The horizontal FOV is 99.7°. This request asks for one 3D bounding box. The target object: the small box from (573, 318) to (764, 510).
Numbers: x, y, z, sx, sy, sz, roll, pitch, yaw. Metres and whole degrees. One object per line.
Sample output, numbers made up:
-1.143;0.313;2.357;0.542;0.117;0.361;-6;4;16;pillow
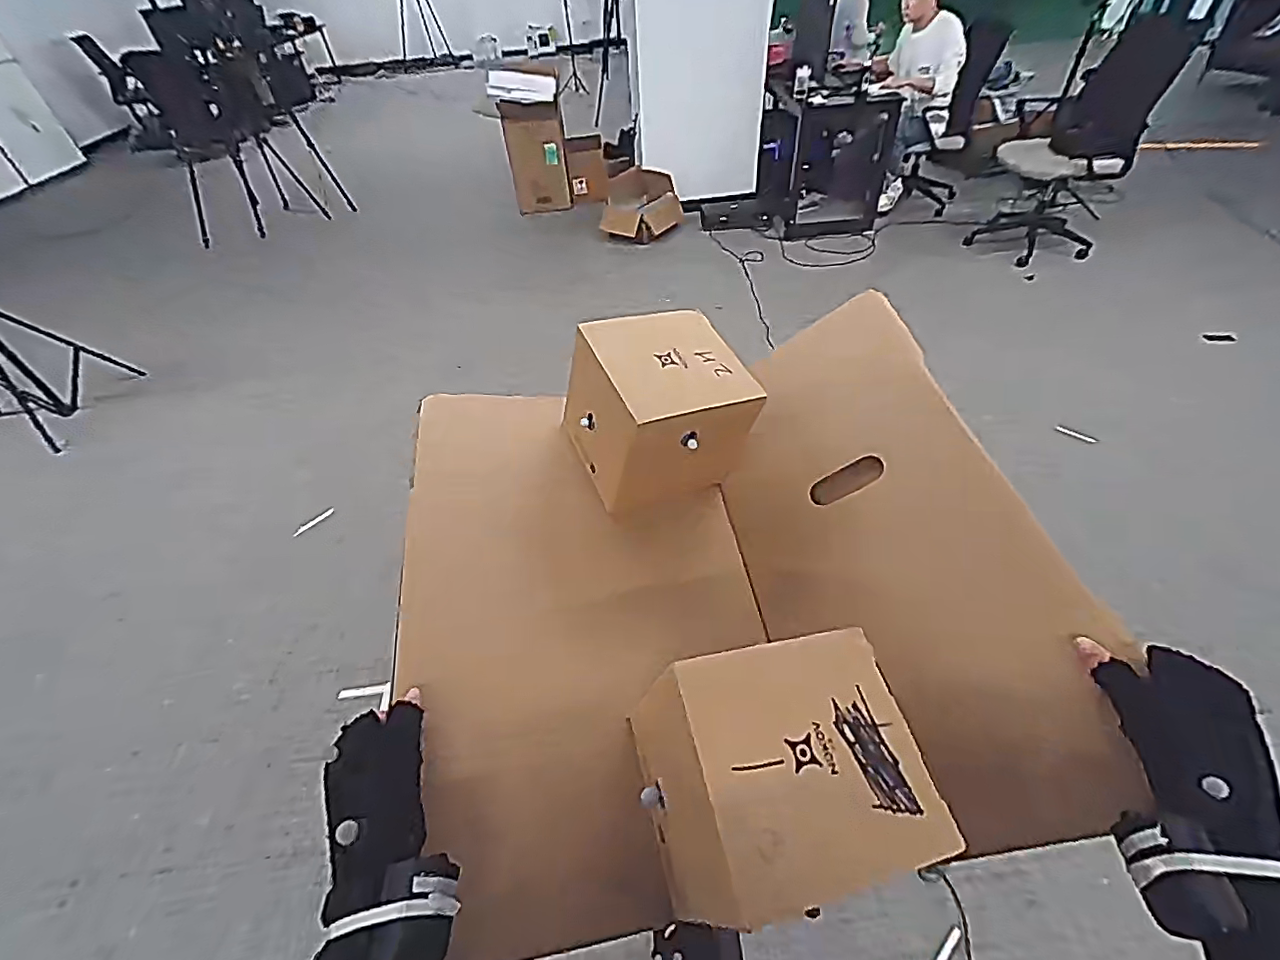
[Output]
0.022;-0.082;0.694;0.179;0.176;0.168;-14;58;-25;small box
